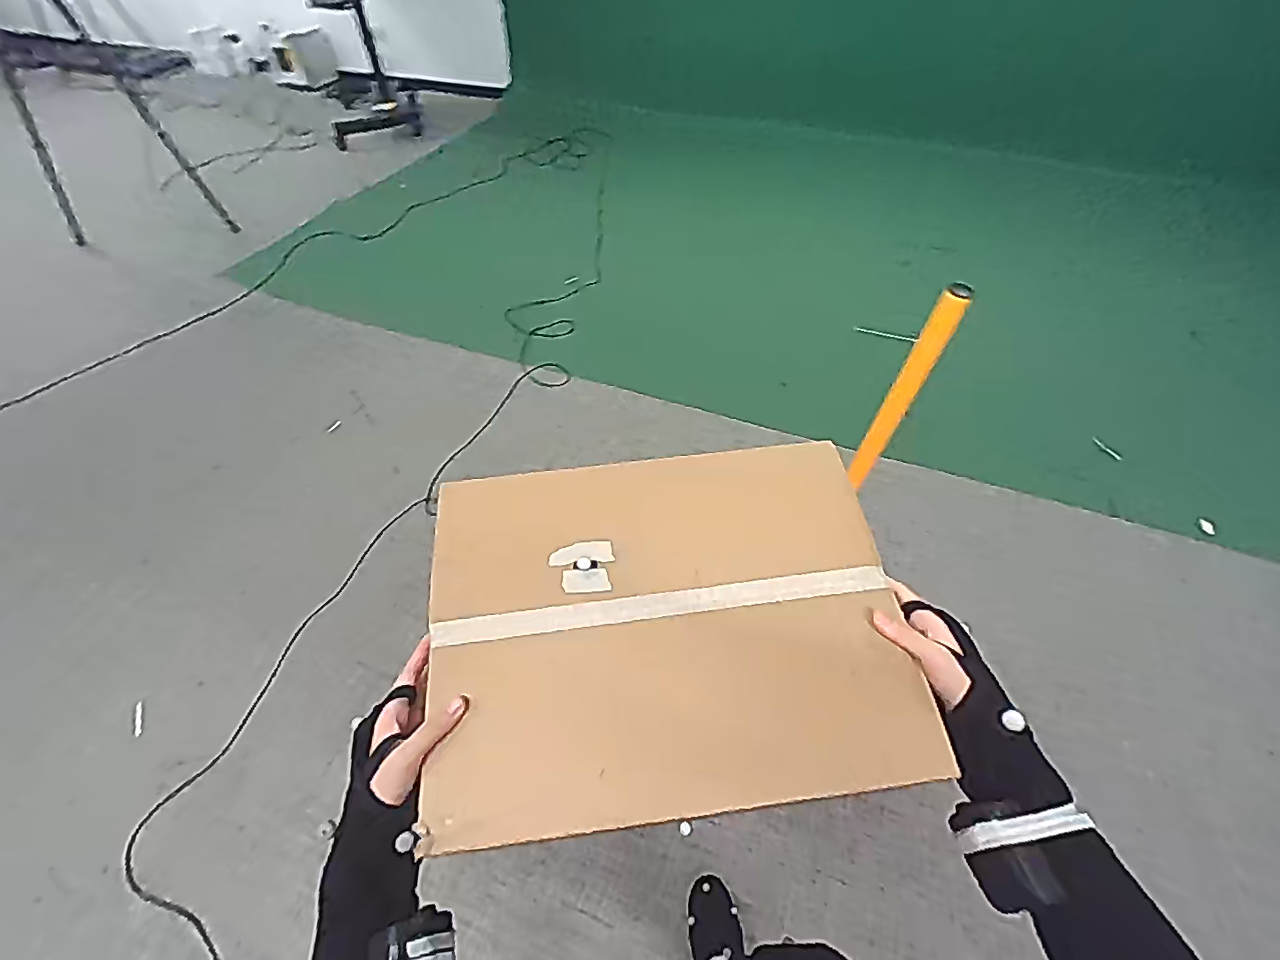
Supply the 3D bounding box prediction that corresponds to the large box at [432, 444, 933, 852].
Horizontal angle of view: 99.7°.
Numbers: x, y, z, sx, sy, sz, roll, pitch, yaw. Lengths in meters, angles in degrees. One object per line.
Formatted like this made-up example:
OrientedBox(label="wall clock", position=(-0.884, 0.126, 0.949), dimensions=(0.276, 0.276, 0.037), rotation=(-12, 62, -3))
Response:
OrientedBox(label="large box", position=(0.022, 0.192, 0.618), dimensions=(0.408, 0.320, 0.320), rotation=(-7, 60, -3))
